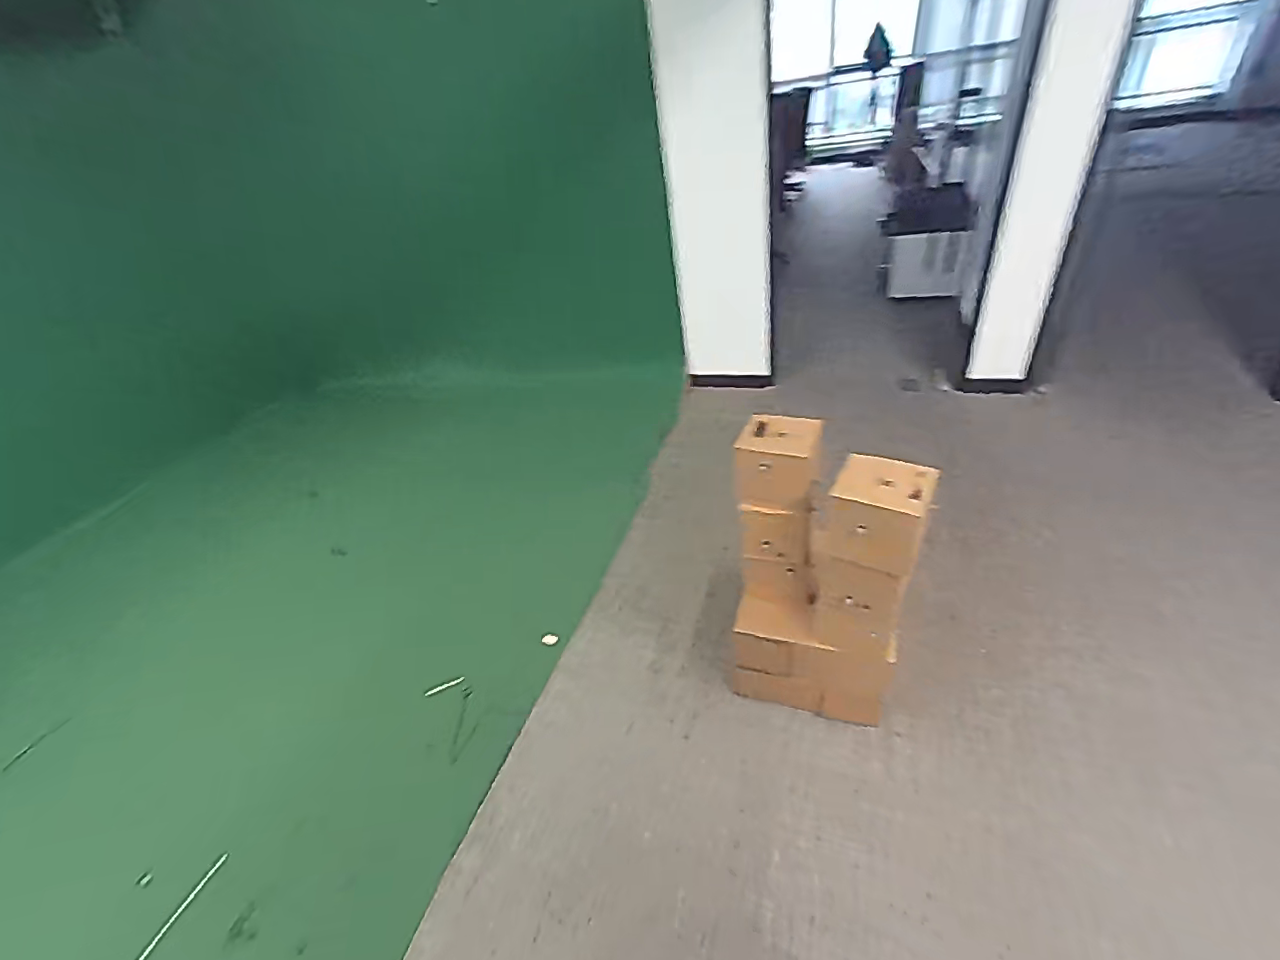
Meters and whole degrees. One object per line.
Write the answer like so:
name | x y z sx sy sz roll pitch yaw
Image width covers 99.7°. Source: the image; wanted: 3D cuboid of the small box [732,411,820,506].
small box | 0.341 -0.053 1.344 0.179 0.176 0.168 9 41 25

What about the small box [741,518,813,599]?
small box | 0.389 0.214 1.528 0.179 0.176 0.168 4 37 20

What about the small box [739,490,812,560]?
small box | 0.362 0.084 1.434 0.168 0.176 0.179 6 39 21

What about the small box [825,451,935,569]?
small box | 0.503 0.062 1.145 0.179 0.176 0.168 14 43 31

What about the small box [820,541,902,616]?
small box | 0.523 0.181 1.260 0.168 0.176 0.179 11 42 27
